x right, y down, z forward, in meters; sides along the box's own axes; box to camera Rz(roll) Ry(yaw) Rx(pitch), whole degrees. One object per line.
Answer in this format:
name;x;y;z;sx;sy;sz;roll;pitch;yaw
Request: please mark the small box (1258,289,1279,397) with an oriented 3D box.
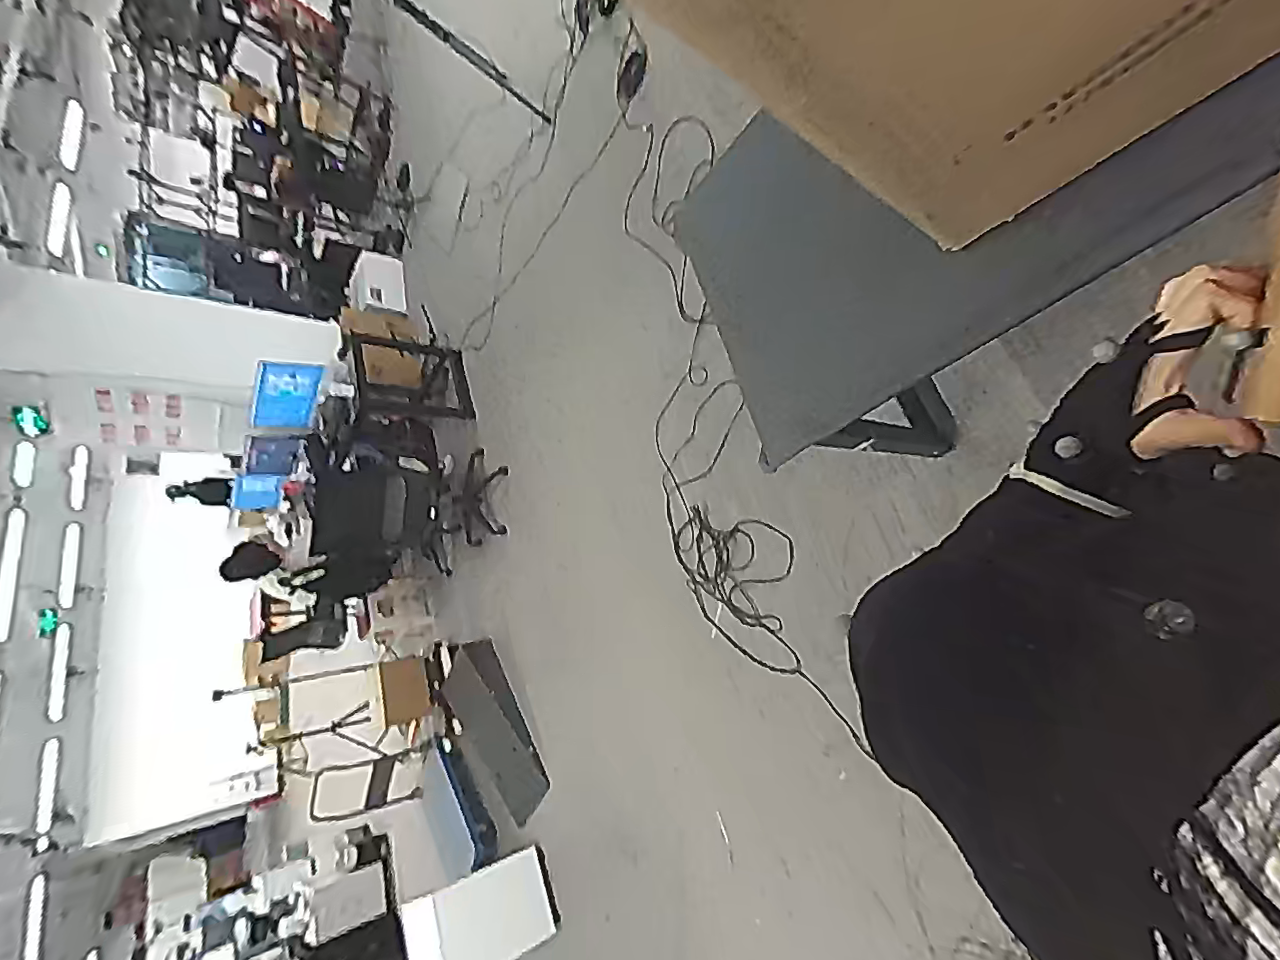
small box;0.421;-0.111;0.238;0.168;0.176;0.179;14;112;41
